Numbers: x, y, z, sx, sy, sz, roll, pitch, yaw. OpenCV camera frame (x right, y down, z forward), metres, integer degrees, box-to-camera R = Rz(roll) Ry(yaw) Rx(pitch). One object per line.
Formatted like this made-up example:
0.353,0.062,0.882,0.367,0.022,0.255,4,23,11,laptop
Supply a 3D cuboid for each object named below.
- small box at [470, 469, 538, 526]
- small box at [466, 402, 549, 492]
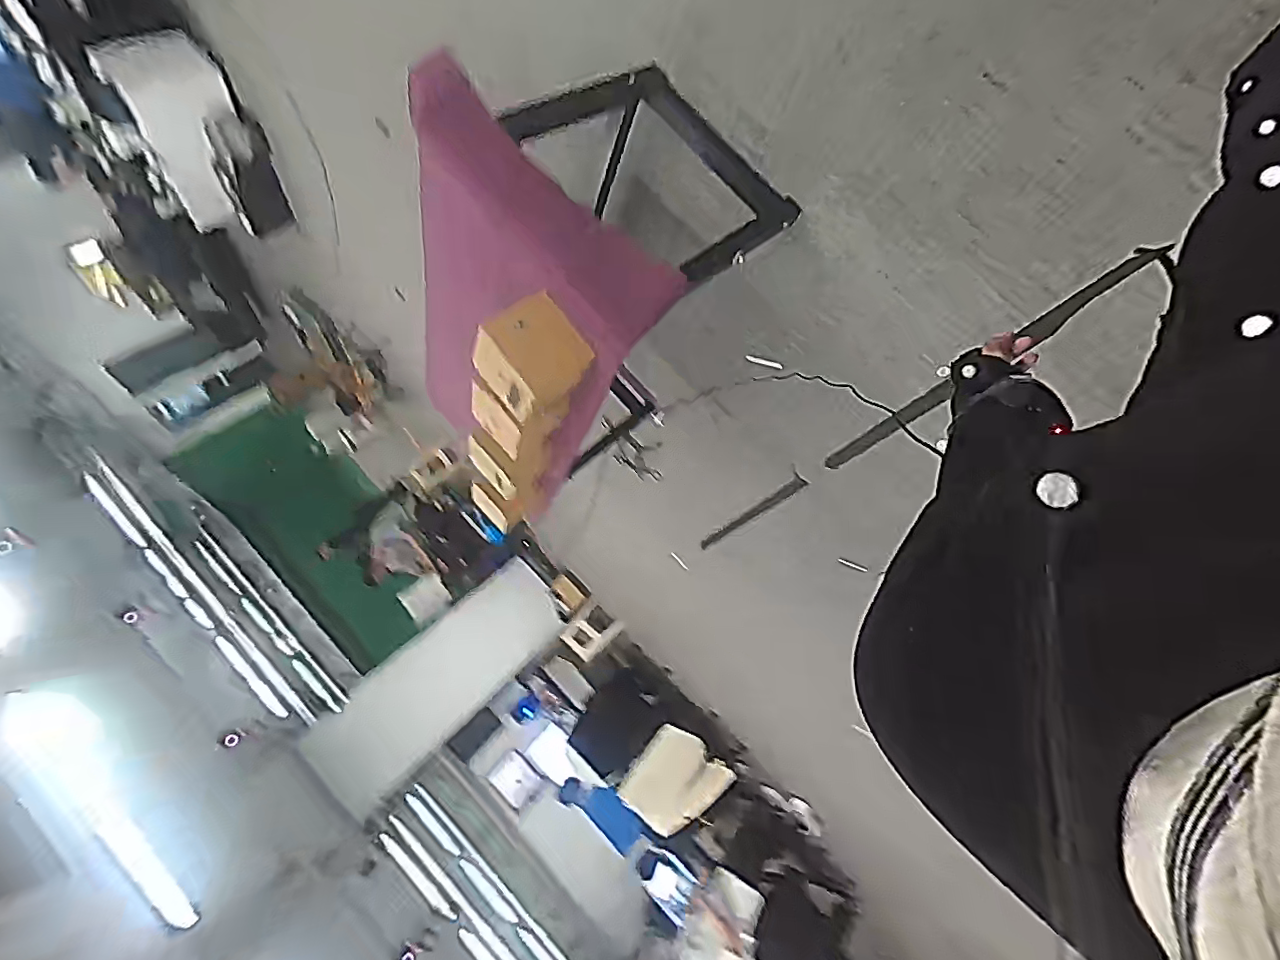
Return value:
-0.475,0.029,1.892,0.168,0.176,0.179,46,152,5,small box
-0.393,-0.100,1.604,0.179,0.176,0.168,46,152,6,small box
